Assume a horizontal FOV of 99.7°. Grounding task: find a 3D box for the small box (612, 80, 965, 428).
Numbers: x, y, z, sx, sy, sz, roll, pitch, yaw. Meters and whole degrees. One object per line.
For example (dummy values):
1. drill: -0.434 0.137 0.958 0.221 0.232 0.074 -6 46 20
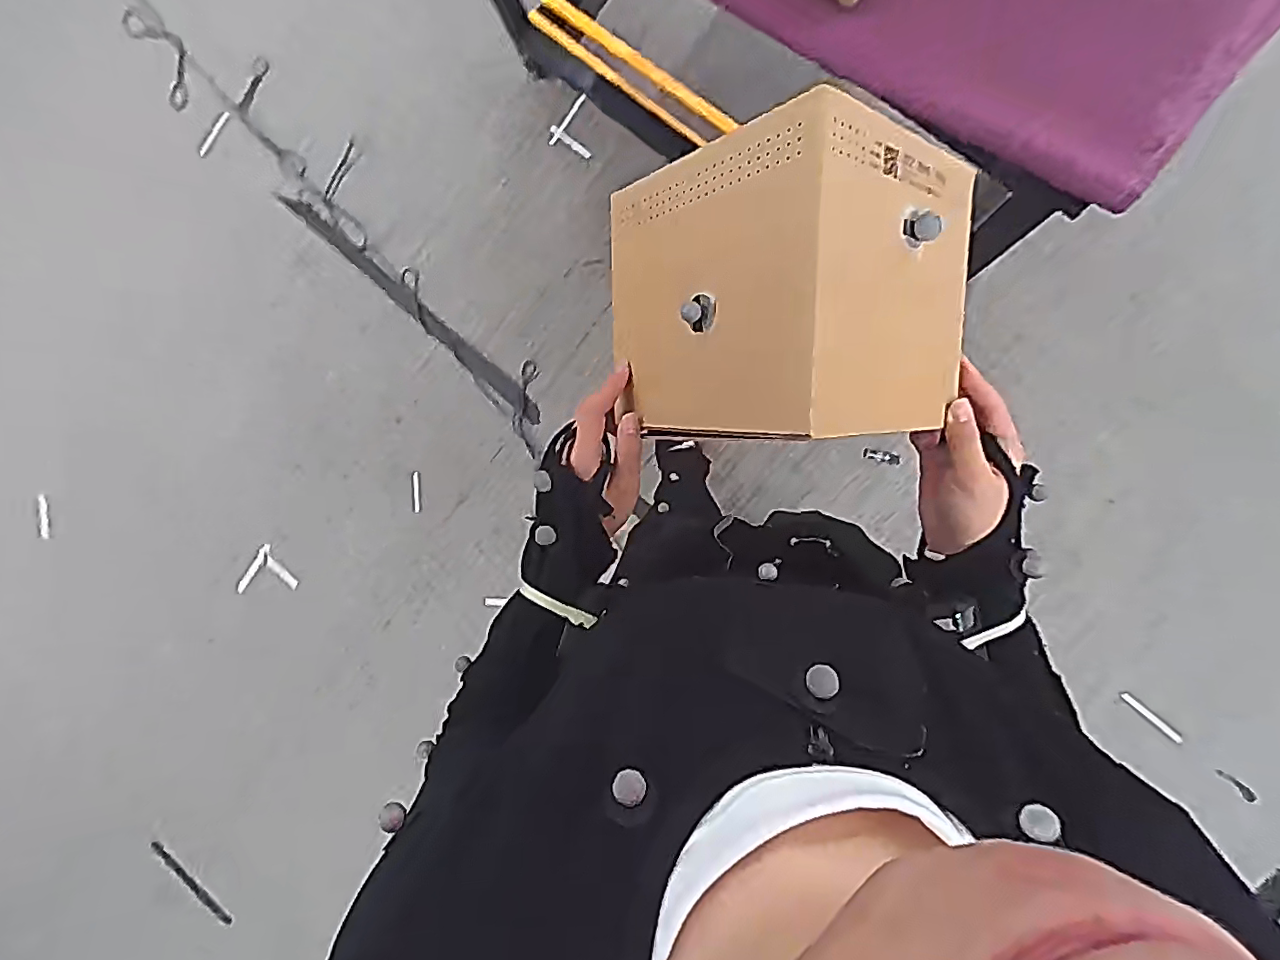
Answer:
1. small box: 0.096 -0.125 0.374 0.179 0.168 0.176 9 103 51
